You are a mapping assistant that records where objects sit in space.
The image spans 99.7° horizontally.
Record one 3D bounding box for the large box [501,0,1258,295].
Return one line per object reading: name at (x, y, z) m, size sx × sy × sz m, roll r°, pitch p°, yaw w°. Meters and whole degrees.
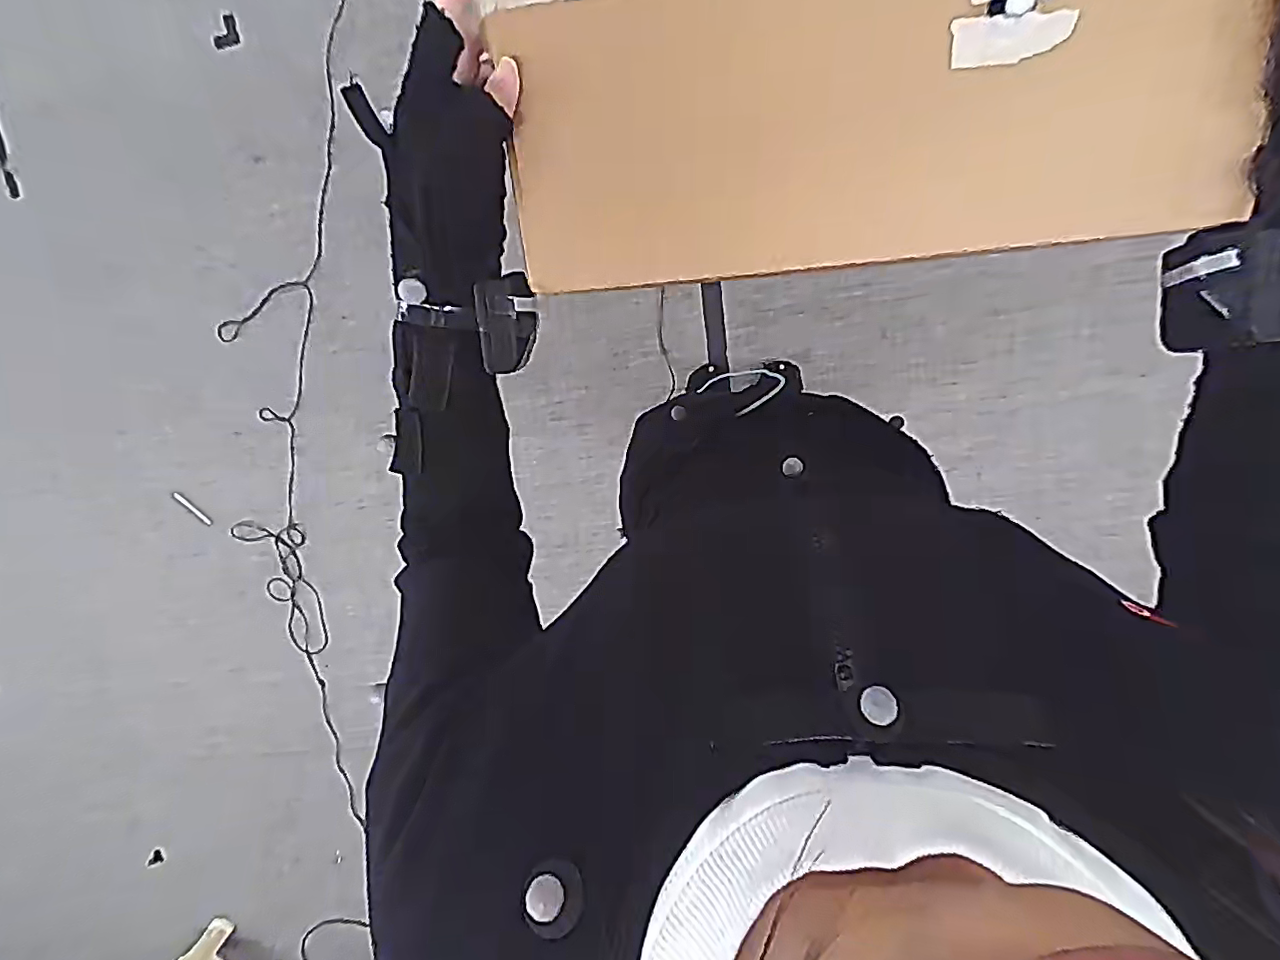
large box at (0.127, -0.331, 0.424) m, size 0.408 × 0.320 × 0.320 m, roll -4°, pitch 110°, yaw 6°
